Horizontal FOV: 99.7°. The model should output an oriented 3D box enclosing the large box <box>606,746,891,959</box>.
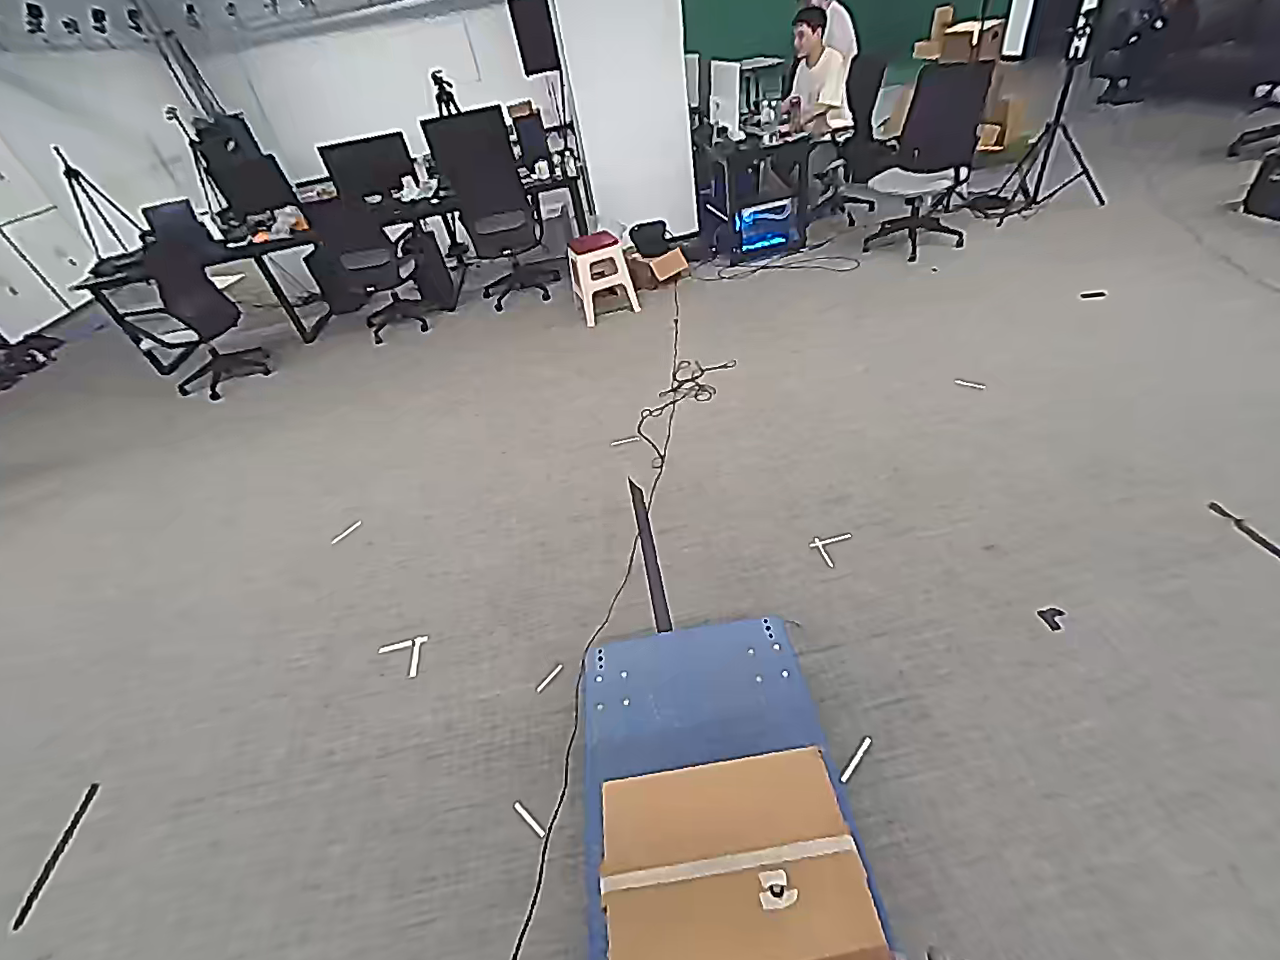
[{"bbox_3d":[0.171,0.739,0.977,0.408,0.320,0.320,-11,40,1],"label":"large box"}]
